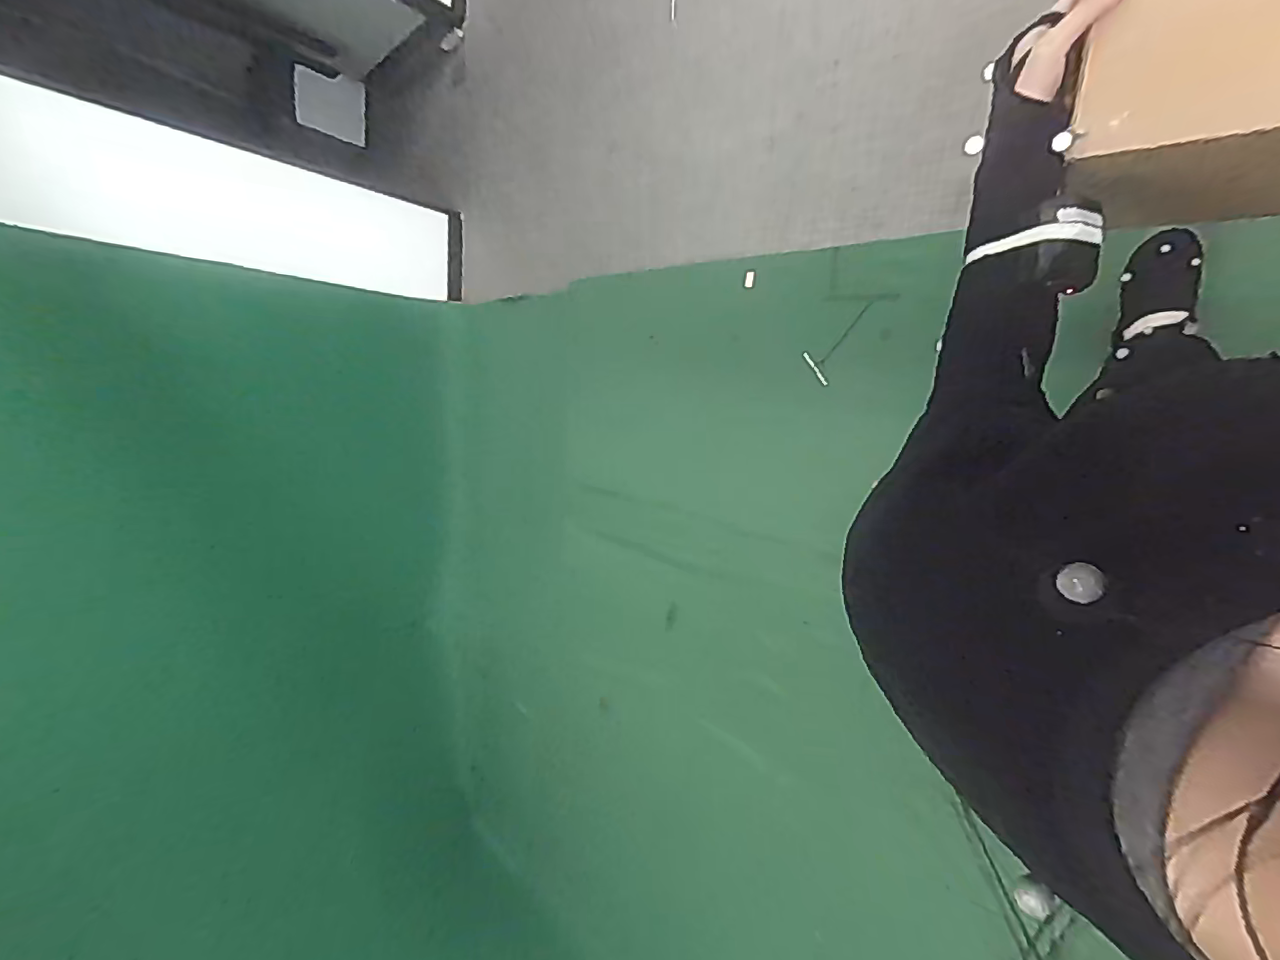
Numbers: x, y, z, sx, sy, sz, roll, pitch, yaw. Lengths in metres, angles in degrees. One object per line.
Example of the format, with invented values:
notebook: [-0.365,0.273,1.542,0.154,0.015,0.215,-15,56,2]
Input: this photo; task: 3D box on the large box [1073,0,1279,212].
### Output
large box: [0.588,-0.408,0.380,0.408,0.320,0.320,11,106,37]
